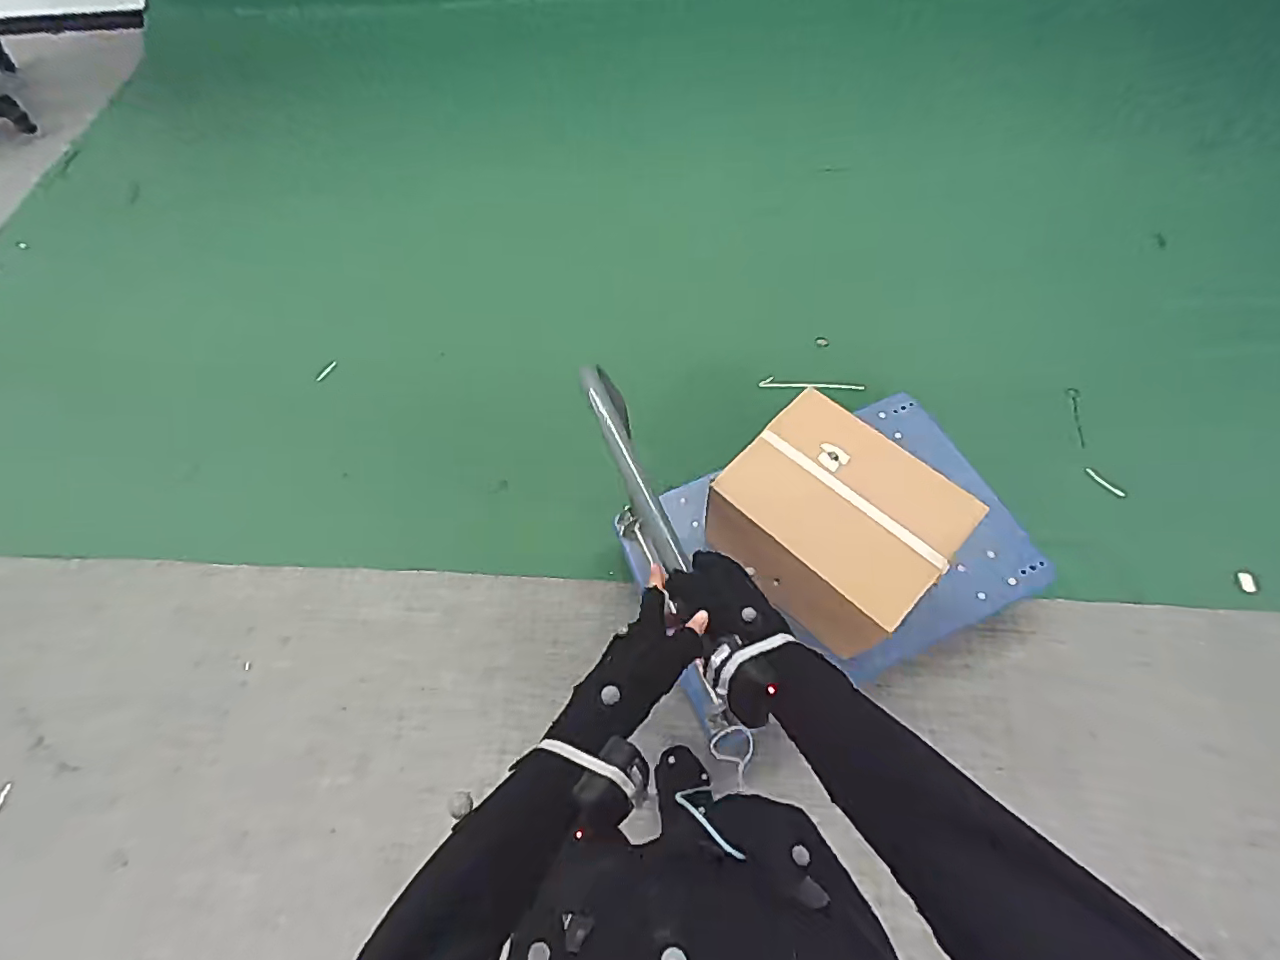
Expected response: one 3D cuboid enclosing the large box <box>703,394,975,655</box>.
[{"bbox_3d":[0.384,0.103,1.150,0.320,0.320,0.408,-42,67,-16],"label":"large box"}]
